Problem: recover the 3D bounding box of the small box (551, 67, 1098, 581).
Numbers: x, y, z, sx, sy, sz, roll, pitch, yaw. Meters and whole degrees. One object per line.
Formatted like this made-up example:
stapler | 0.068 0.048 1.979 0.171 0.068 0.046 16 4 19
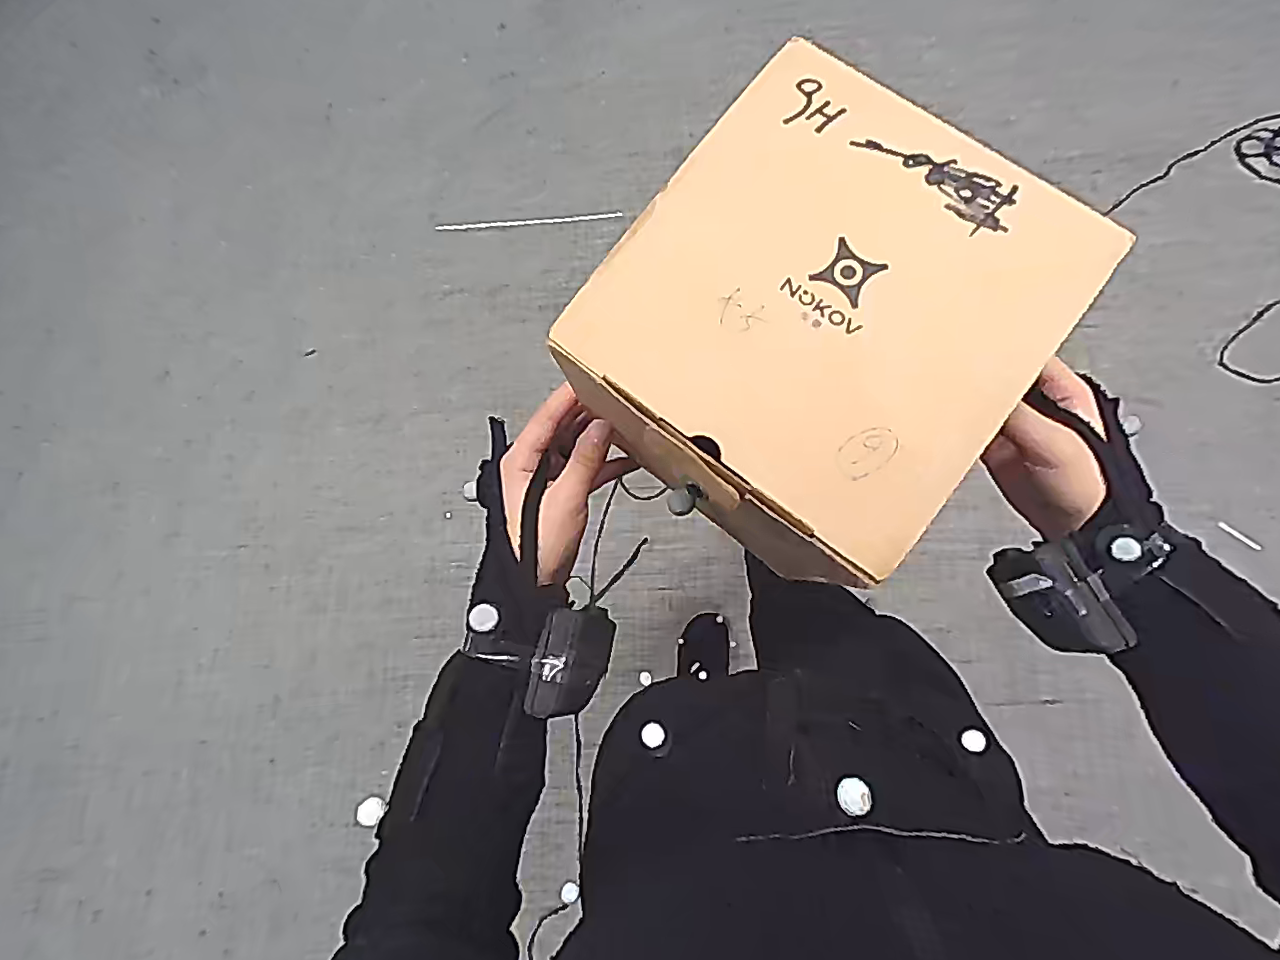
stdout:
small box | 0.082 -0.062 0.308 0.168 0.176 0.179 38 86 8
